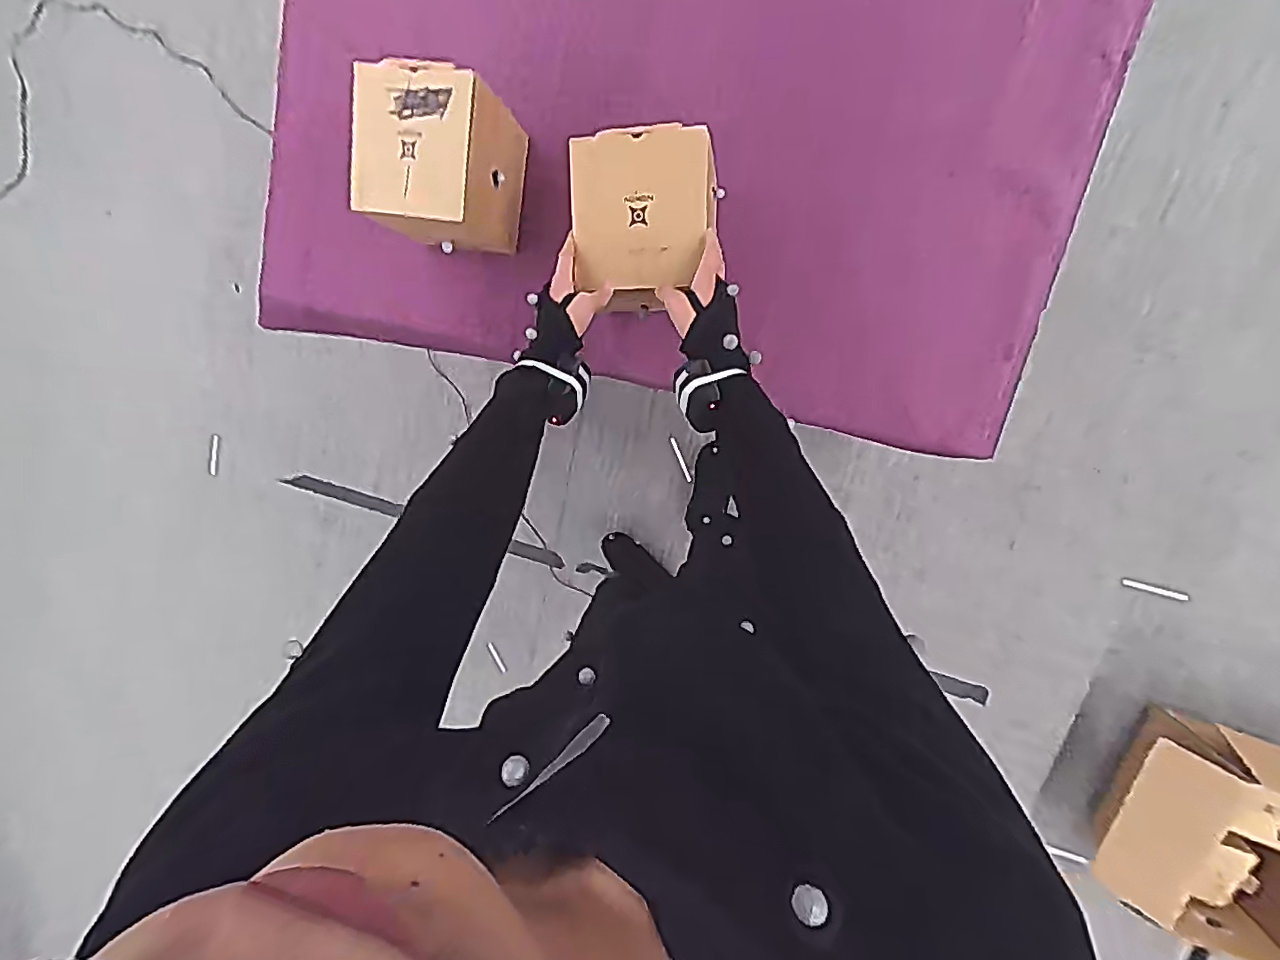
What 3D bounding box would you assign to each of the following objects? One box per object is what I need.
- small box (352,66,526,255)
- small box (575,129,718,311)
[{"bbox_3d":[-0.273,-0.438,0.765,0.168,0.176,0.179,10,101,9],"label":"small box"},{"bbox_3d":[0.015,-0.333,0.726,0.168,0.176,0.179,2,98,11],"label":"small box"}]
